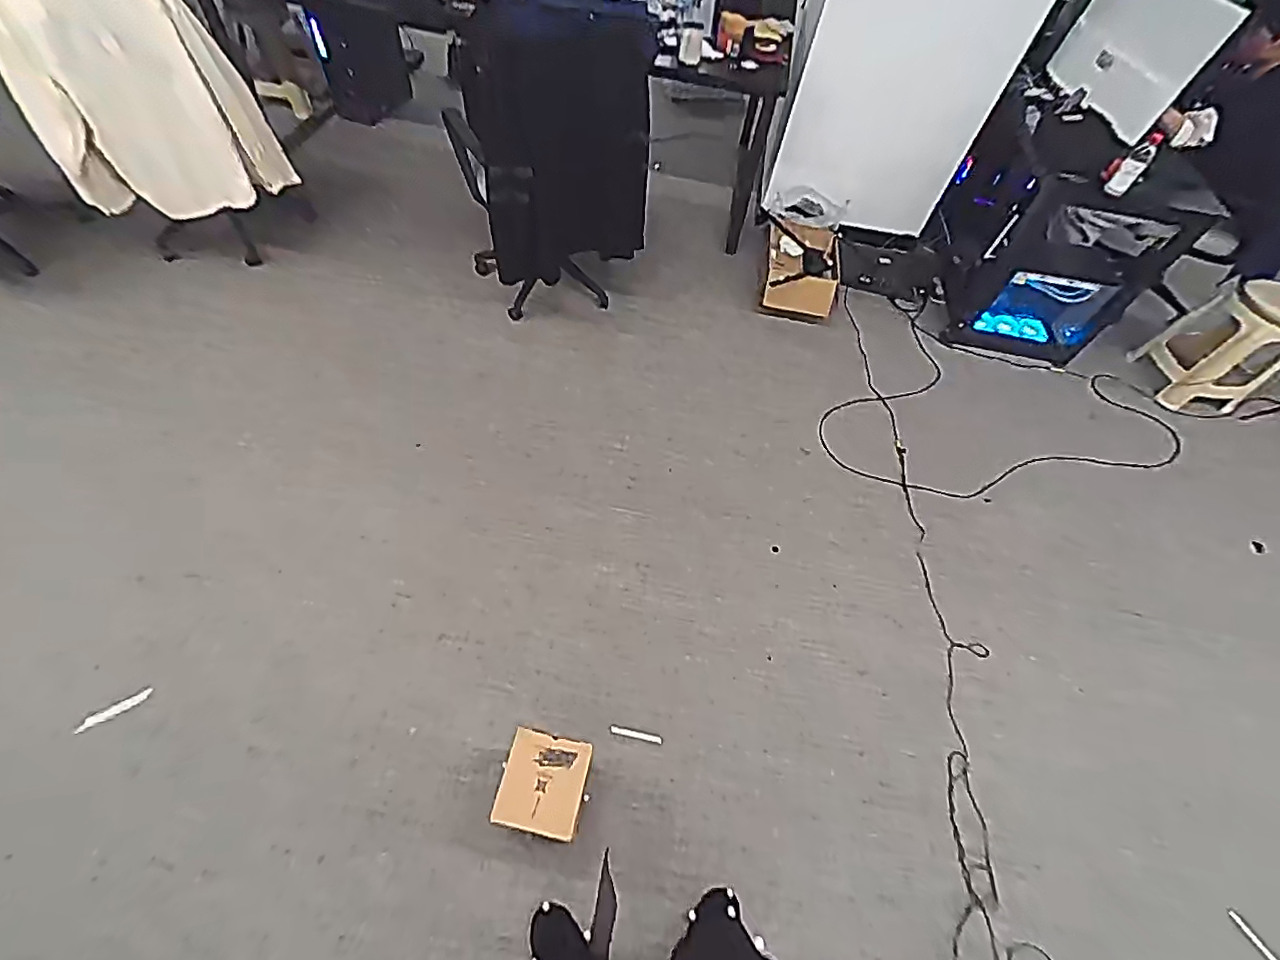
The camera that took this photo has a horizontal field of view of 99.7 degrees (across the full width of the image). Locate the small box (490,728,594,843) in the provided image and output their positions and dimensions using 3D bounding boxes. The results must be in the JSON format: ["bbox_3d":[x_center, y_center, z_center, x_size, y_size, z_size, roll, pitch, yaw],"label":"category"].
[{"bbox_3d":[-0.202,0.652,1.154,0.168,0.176,0.179,13,57,3],"label":"small box"}]
